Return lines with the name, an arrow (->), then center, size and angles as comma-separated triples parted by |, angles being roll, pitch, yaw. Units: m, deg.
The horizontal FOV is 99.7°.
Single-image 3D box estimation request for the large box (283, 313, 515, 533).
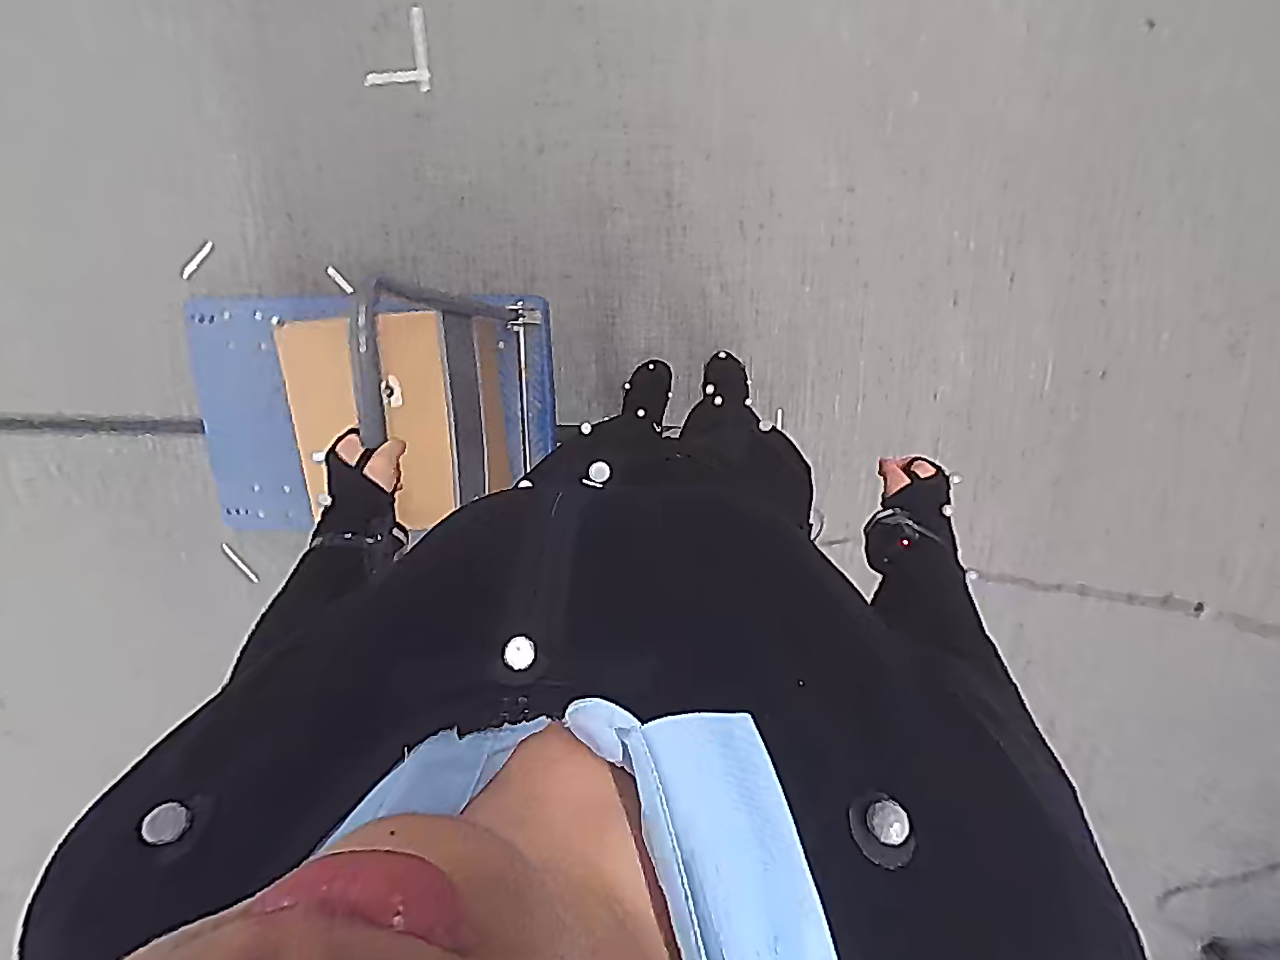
large box -> -0.481, -0.126, 1.164 | 0.320, 0.320, 0.408 | -3, 102, 3
